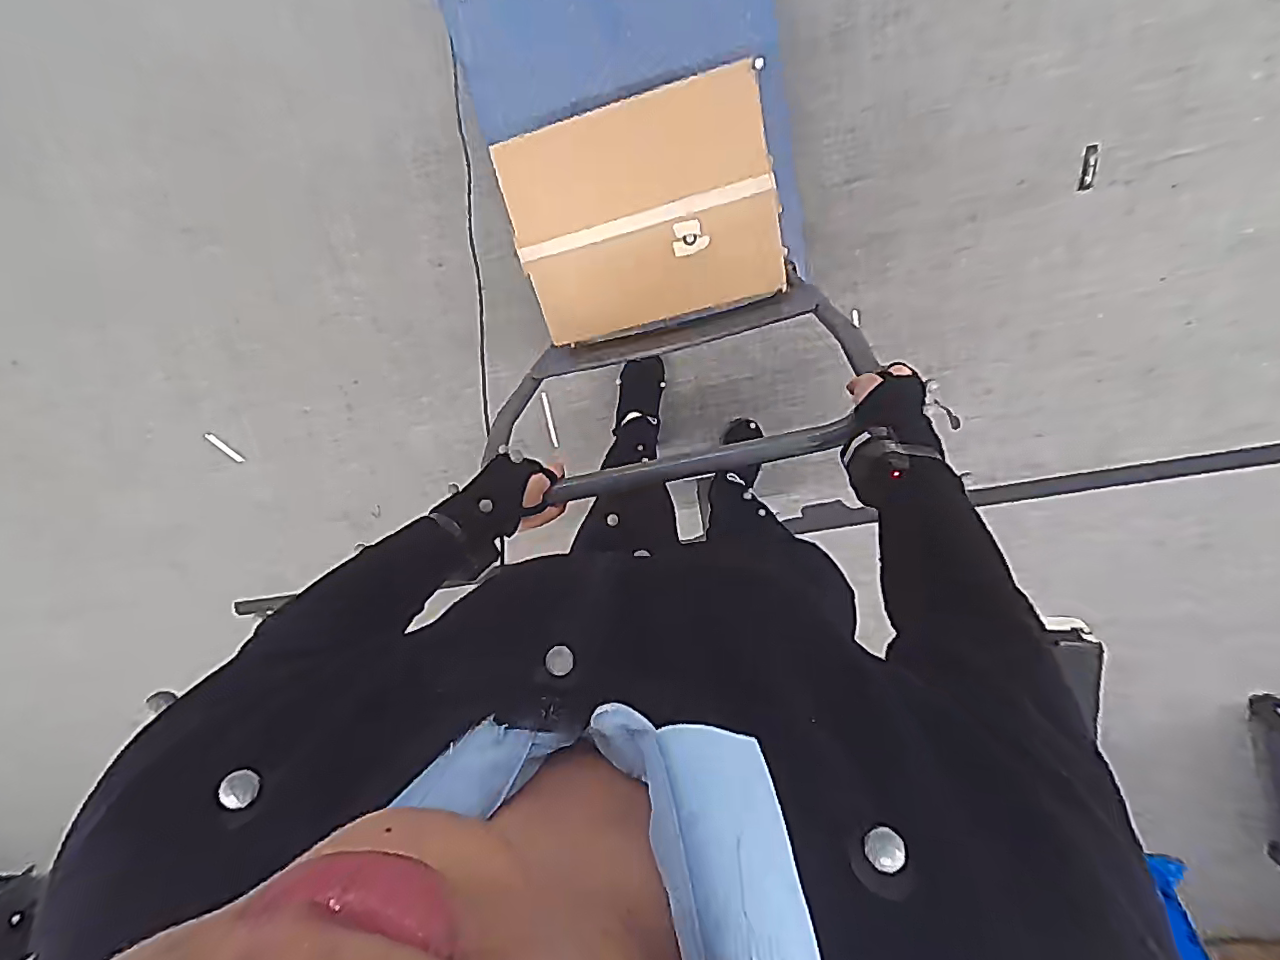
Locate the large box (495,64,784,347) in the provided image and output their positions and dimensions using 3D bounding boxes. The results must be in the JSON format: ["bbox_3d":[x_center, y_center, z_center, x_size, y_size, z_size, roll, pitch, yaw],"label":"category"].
[{"bbox_3d":[0.014,-0.471,0.985,0.408,0.320,0.320,-12,116,10],"label":"large box"}]
